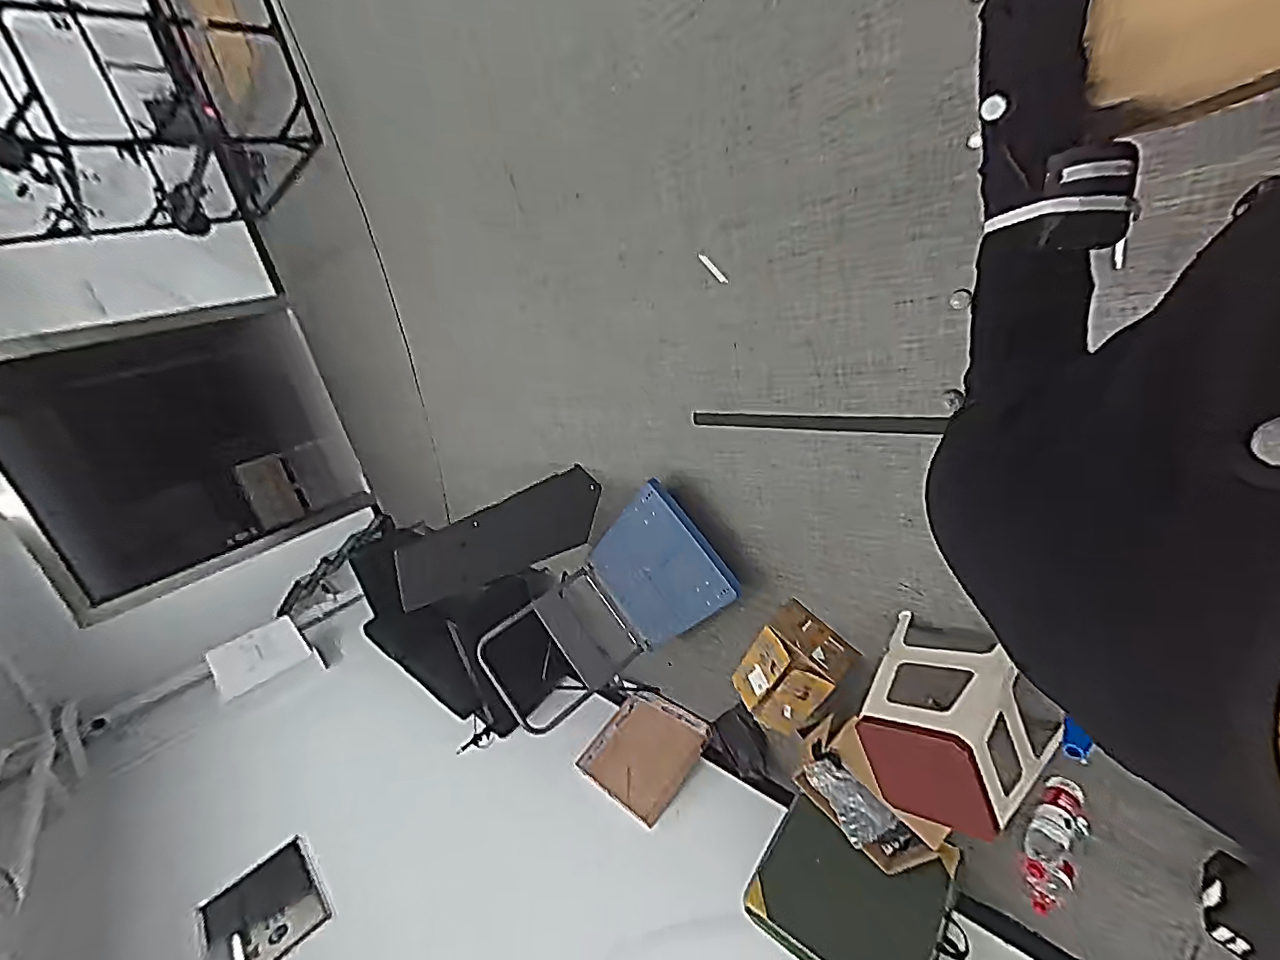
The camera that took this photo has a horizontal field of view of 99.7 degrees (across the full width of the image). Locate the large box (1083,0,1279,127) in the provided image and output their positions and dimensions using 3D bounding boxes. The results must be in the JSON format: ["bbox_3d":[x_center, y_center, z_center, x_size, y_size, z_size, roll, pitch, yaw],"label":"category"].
[{"bbox_3d":[0.510,-0.452,0.281,0.408,0.320,0.320,0,114,54],"label":"large box"}]
